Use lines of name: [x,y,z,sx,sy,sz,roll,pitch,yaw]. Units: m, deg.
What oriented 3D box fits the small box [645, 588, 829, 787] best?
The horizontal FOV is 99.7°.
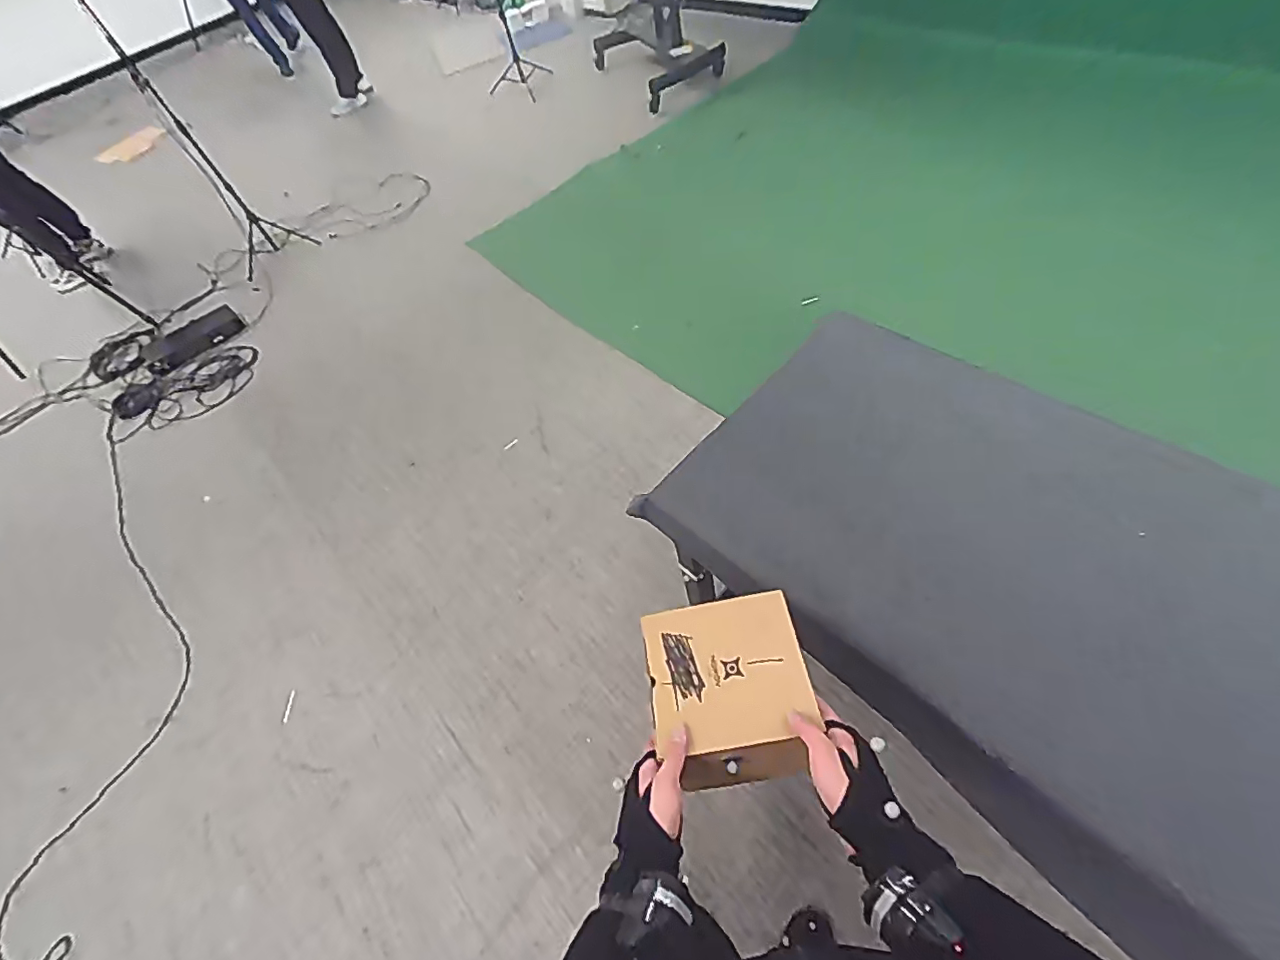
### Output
small box: [0.112,0.256,0.654,0.179,0.176,0.168,-11,49,4]
